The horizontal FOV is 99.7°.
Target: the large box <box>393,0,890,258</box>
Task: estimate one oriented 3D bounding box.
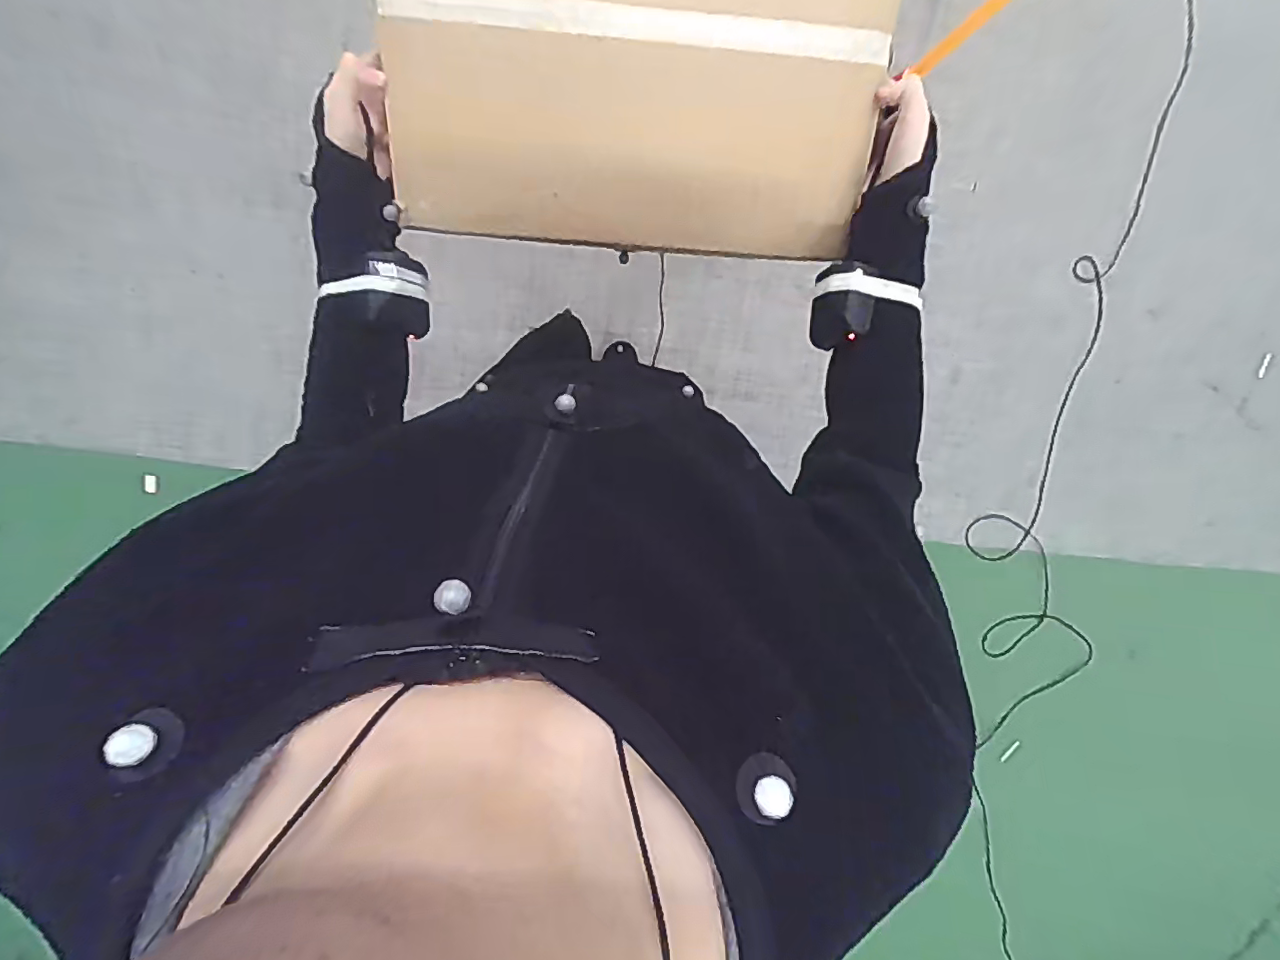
[{"bbox_3d":[-0.003,-0.416,0.578,0.408,0.320,0.320,2,111,-4],"label":"large box"}]
